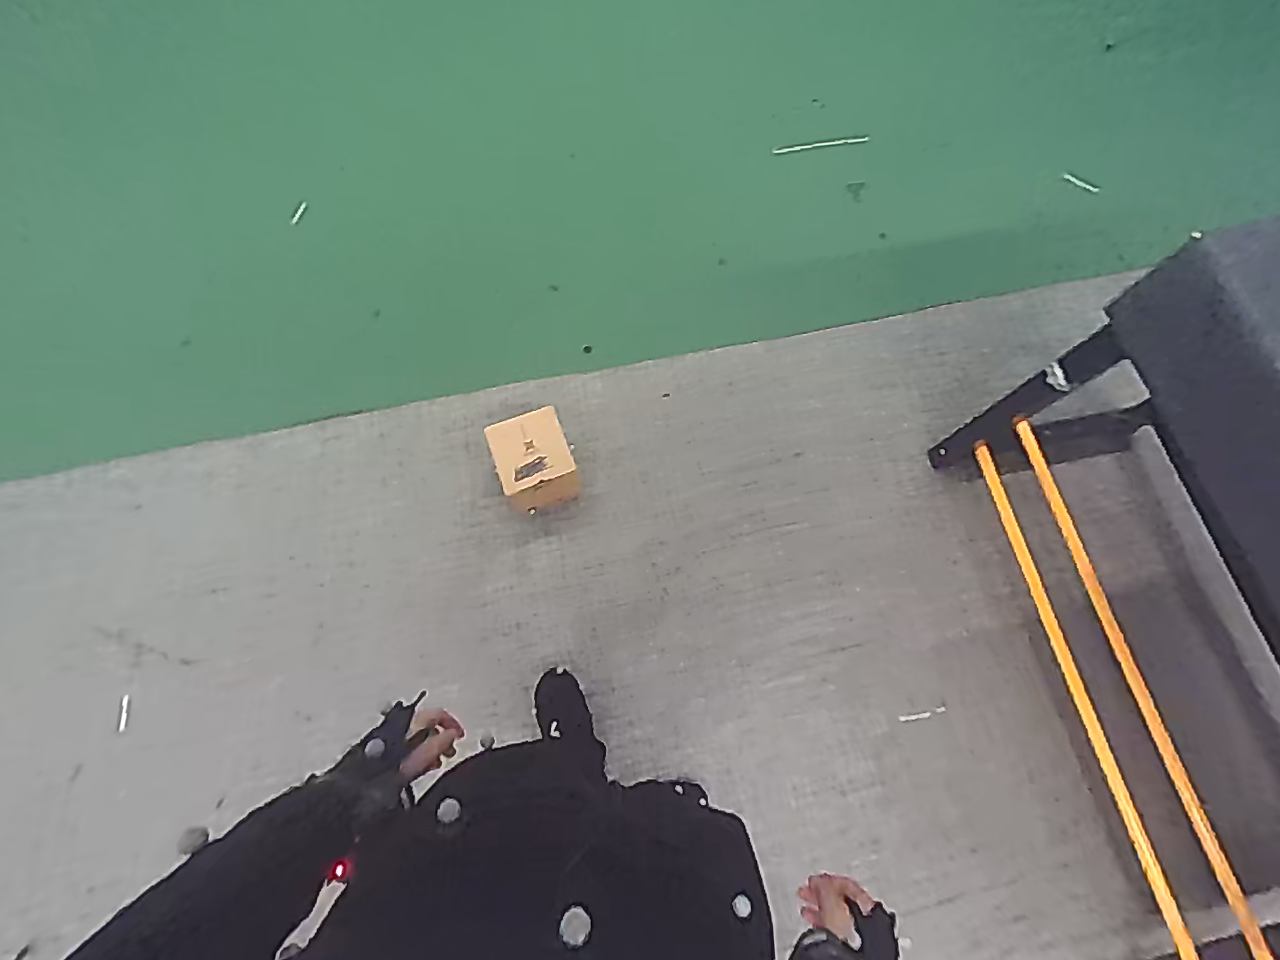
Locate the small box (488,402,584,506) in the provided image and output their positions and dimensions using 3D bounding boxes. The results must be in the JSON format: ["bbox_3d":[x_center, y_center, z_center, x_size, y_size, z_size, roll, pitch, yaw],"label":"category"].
[{"bbox_3d":[-0.239,-0.051,1.282,0.168,0.176,0.179,-20,72,-8],"label":"small box"}]
